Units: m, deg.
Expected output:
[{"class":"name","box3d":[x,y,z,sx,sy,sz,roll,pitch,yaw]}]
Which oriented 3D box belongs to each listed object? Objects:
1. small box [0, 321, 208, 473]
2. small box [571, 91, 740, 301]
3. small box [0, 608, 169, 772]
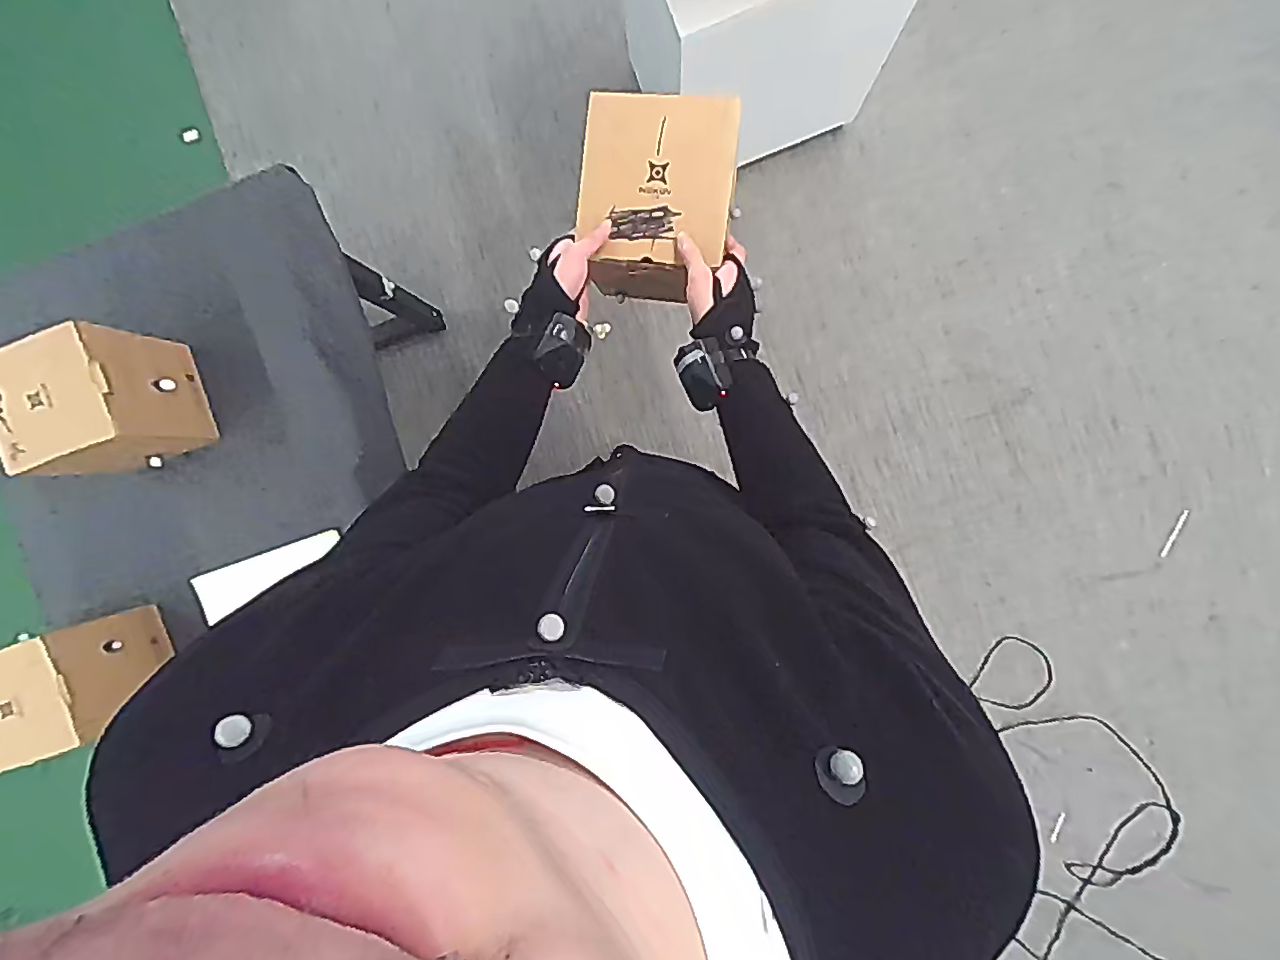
[{"class":"small box","box3d":[-0.797,-0.116,0.806,0.179,0.176,0.168,-19,91,3]},{"class":"small box","box3d":[0.024,-0.329,0.660,0.168,0.176,0.179,8,95,6]},{"class":"small box","box3d":[-0.869,0.311,0.817,0.179,0.176,0.168,-20,90,5]}]
